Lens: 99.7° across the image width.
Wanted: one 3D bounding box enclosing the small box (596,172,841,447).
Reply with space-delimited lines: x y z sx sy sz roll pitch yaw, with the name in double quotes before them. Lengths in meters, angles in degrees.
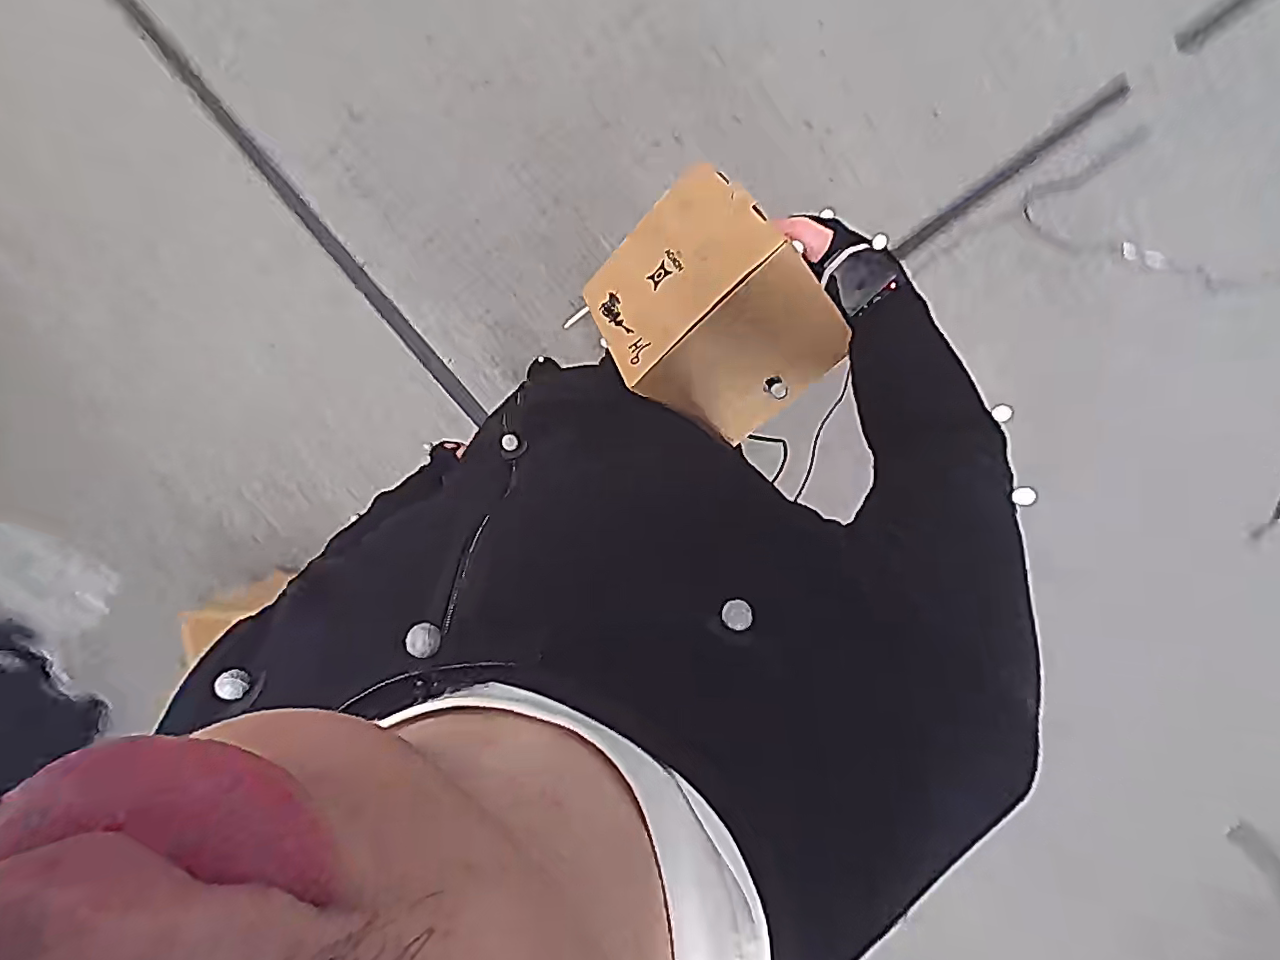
"small box" 0.087 -0.166 0.568 0.179 0.168 0.176 -38 140 21
